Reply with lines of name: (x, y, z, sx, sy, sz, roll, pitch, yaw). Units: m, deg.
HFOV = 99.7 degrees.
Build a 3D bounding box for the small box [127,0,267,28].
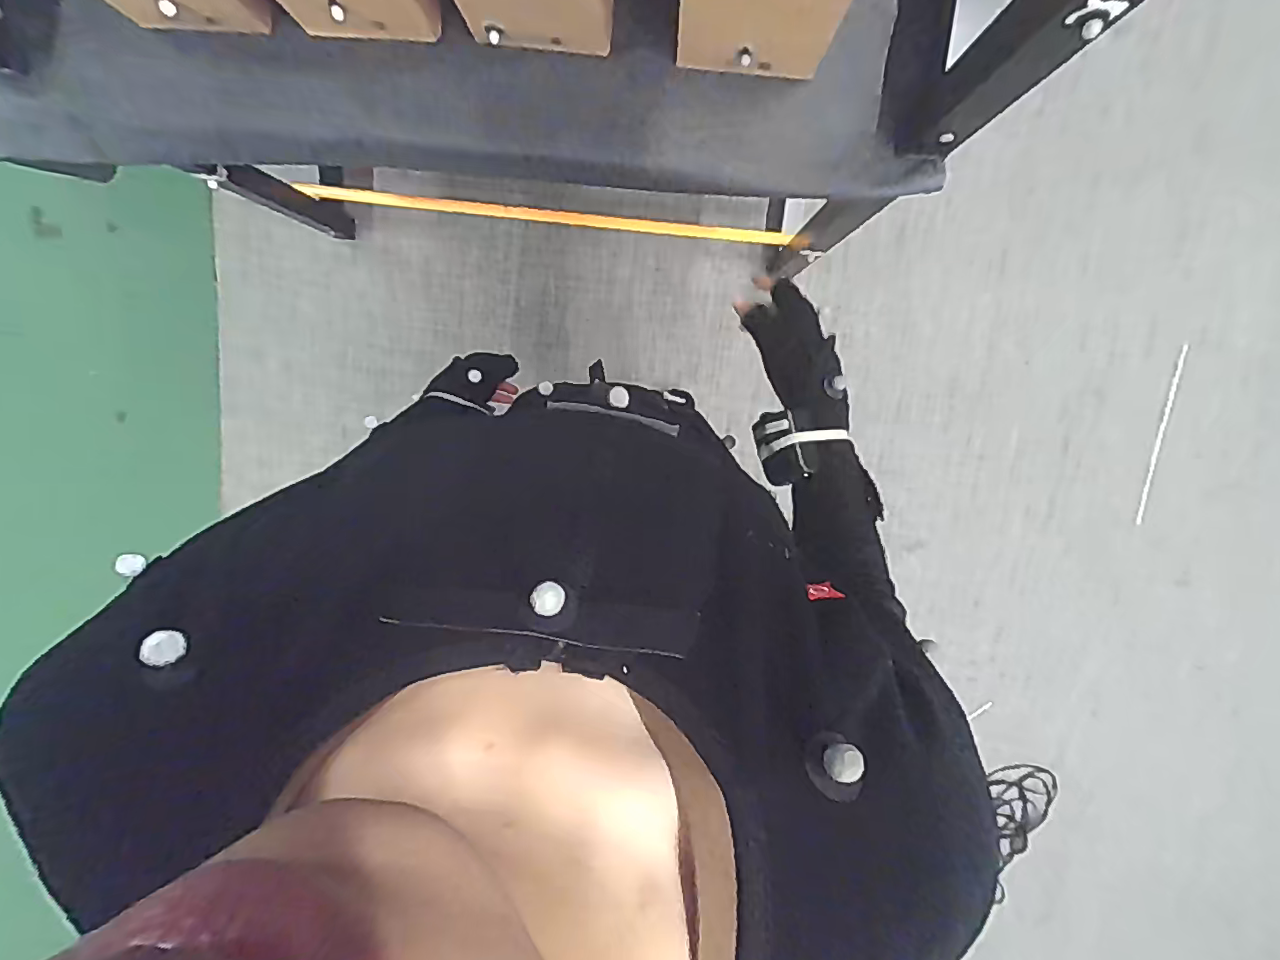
small box: (-0.525, -0.625, 0.561, 0.168, 0.176, 0.179, 4, 100, 1)
